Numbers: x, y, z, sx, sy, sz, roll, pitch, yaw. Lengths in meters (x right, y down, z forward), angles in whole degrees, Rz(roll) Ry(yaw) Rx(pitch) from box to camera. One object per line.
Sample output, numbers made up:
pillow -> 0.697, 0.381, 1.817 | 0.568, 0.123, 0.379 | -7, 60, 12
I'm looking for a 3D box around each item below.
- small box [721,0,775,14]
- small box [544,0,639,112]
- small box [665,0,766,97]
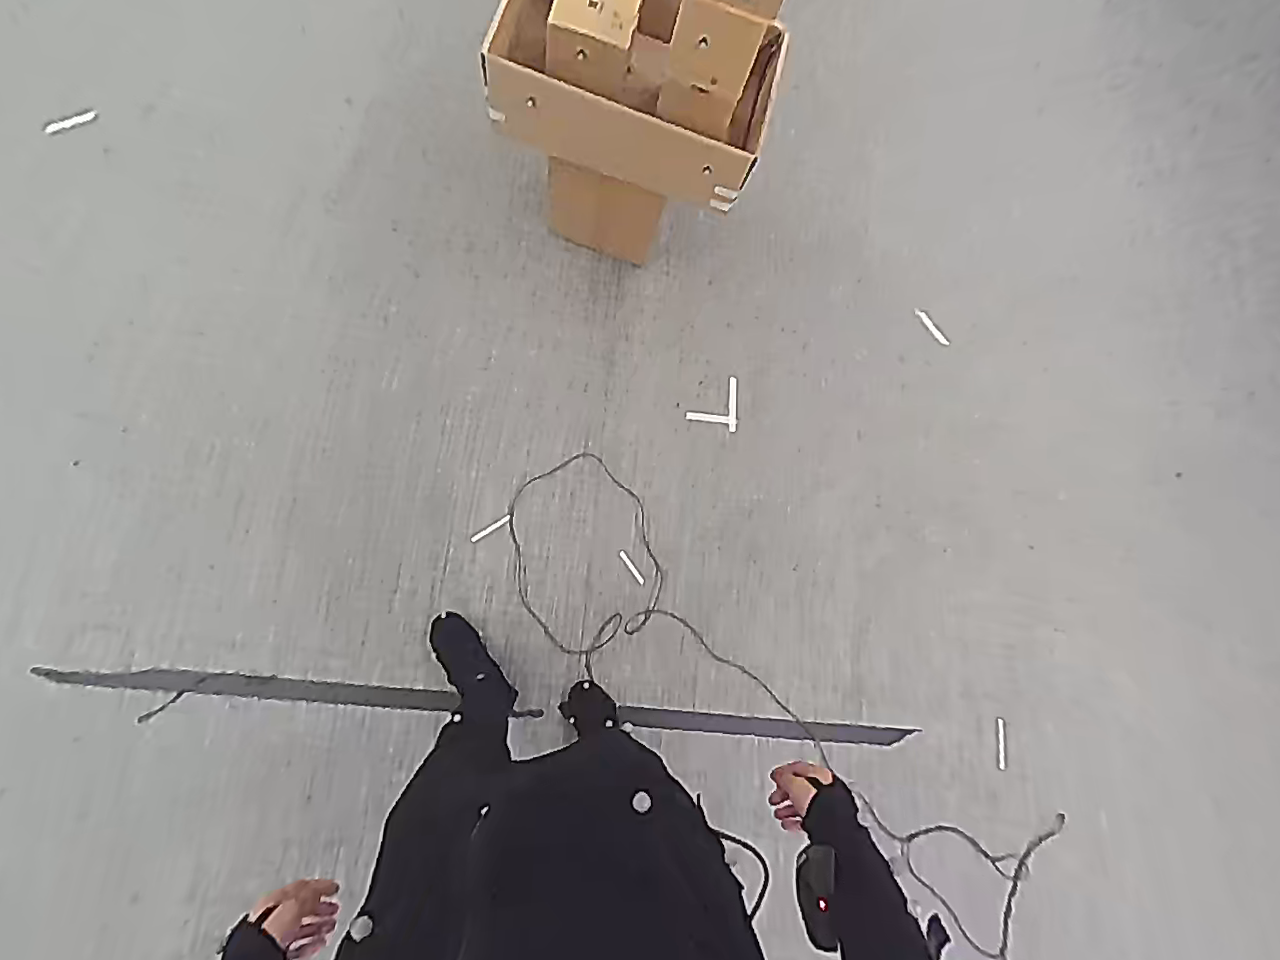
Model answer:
small box -> 0.186, -0.960, 0.927 | 0.179, 0.176, 0.168 | 12, 75, -8
small box -> -0.114, -0.976, 1.214 | 0.179, 0.176, 0.168 | 13, 76, -8
small box -> 0.155, -0.923, 1.083 | 0.168, 0.176, 0.179 | 14, 75, -7
